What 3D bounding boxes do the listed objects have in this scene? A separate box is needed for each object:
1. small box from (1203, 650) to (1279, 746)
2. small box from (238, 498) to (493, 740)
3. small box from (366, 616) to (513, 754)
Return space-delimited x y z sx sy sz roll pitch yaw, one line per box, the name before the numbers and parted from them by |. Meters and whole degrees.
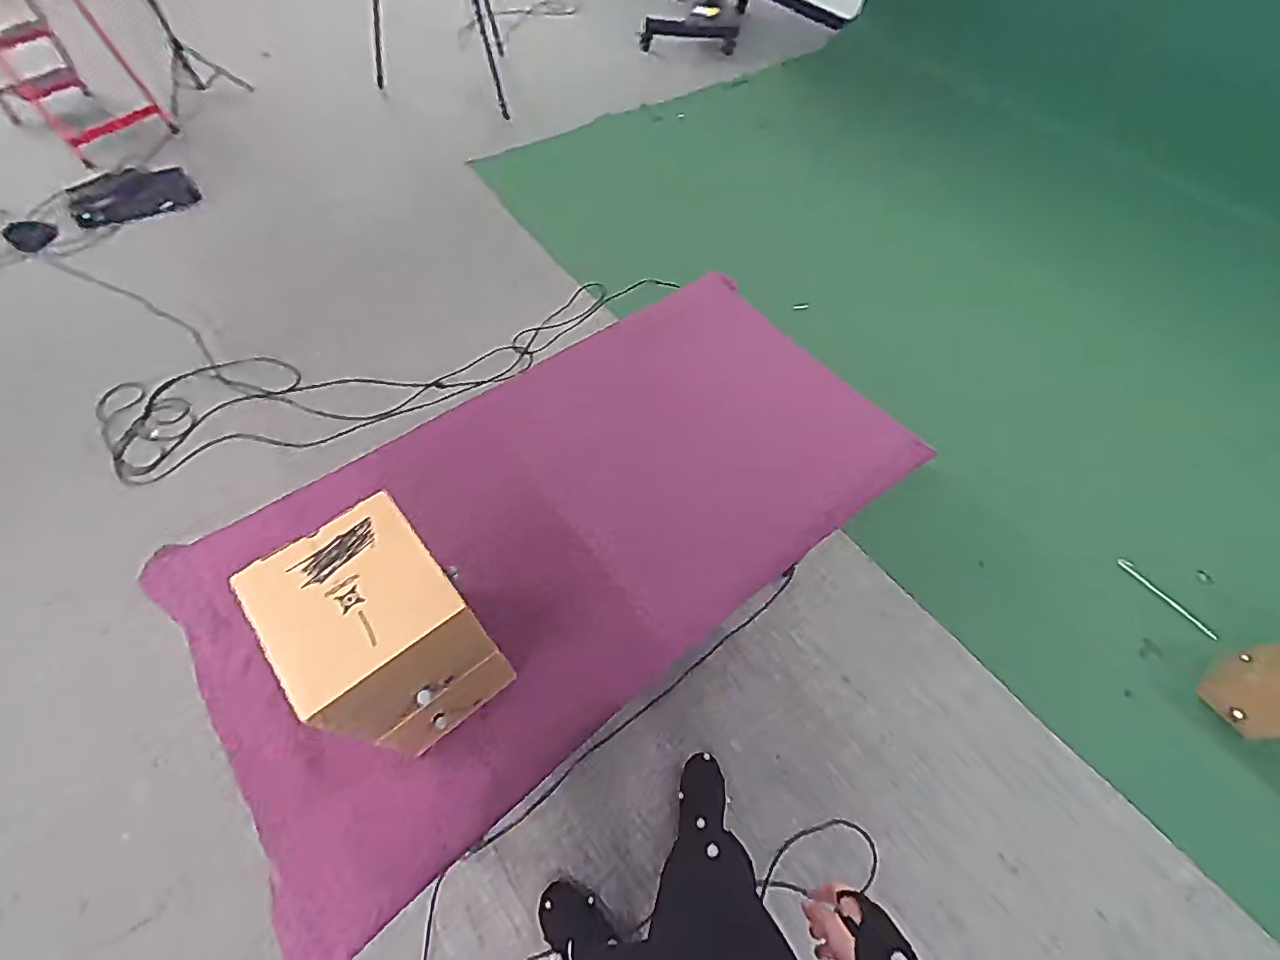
small box | 1.715 0.593 1.471 0.179 0.176 0.168 -31 64 -20
small box | -0.288 0.159 0.599 0.168 0.176 0.179 -35 66 -21
small box | -0.294 0.248 0.737 0.168 0.176 0.179 -35 65 -22
